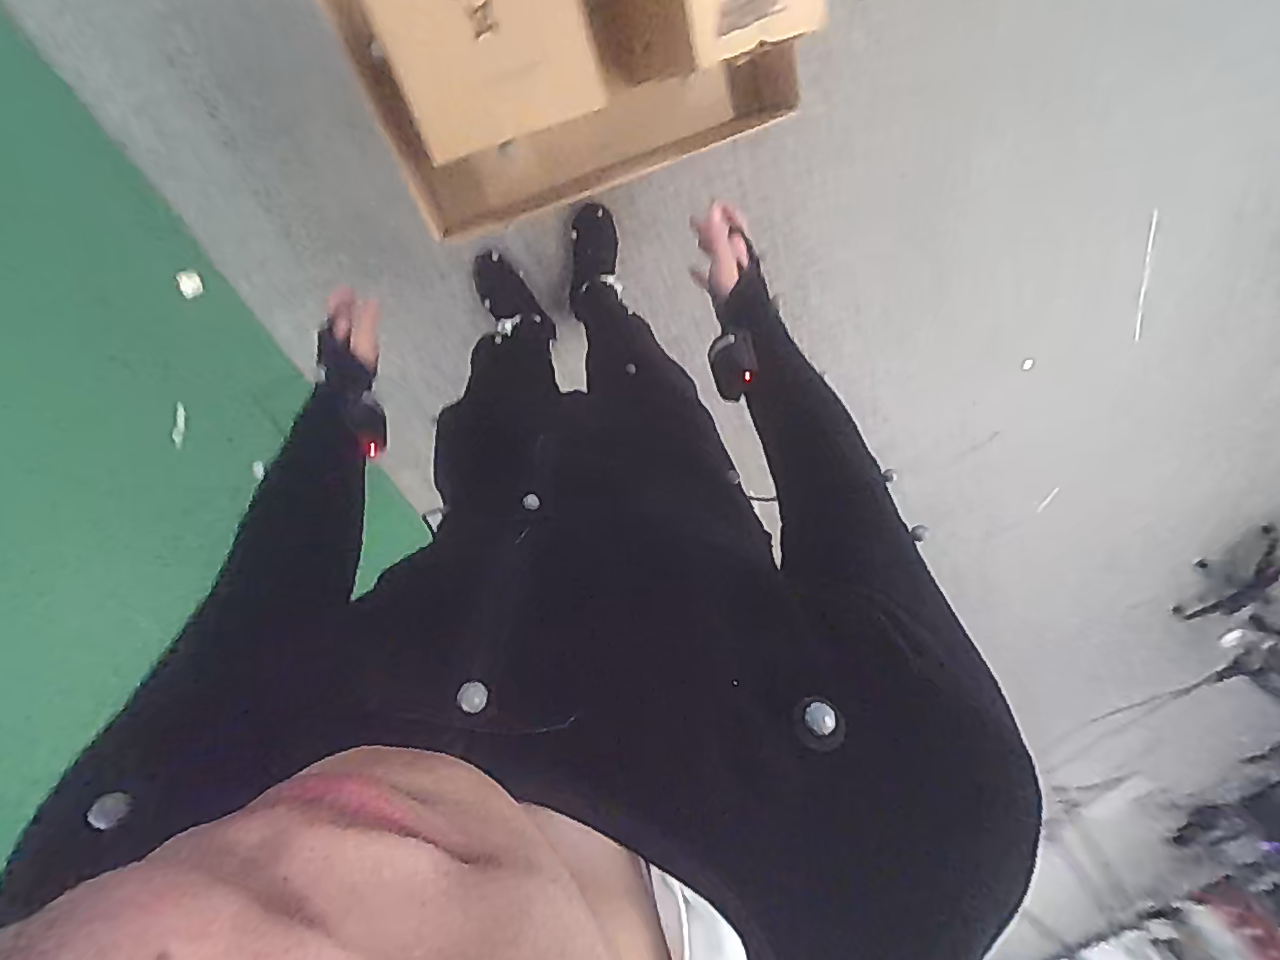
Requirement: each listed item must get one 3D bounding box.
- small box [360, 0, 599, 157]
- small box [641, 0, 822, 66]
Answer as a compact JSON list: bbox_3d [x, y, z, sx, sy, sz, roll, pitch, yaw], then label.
[{"bbox_3d":[-0.152,-0.419,0.499,0.168,0.176,0.179,-20,124,-1],"label":"small box"},{"bbox_3d":[0.095,-0.618,0.639,0.168,0.176,0.179,-22,125,-2],"label":"small box"}]
